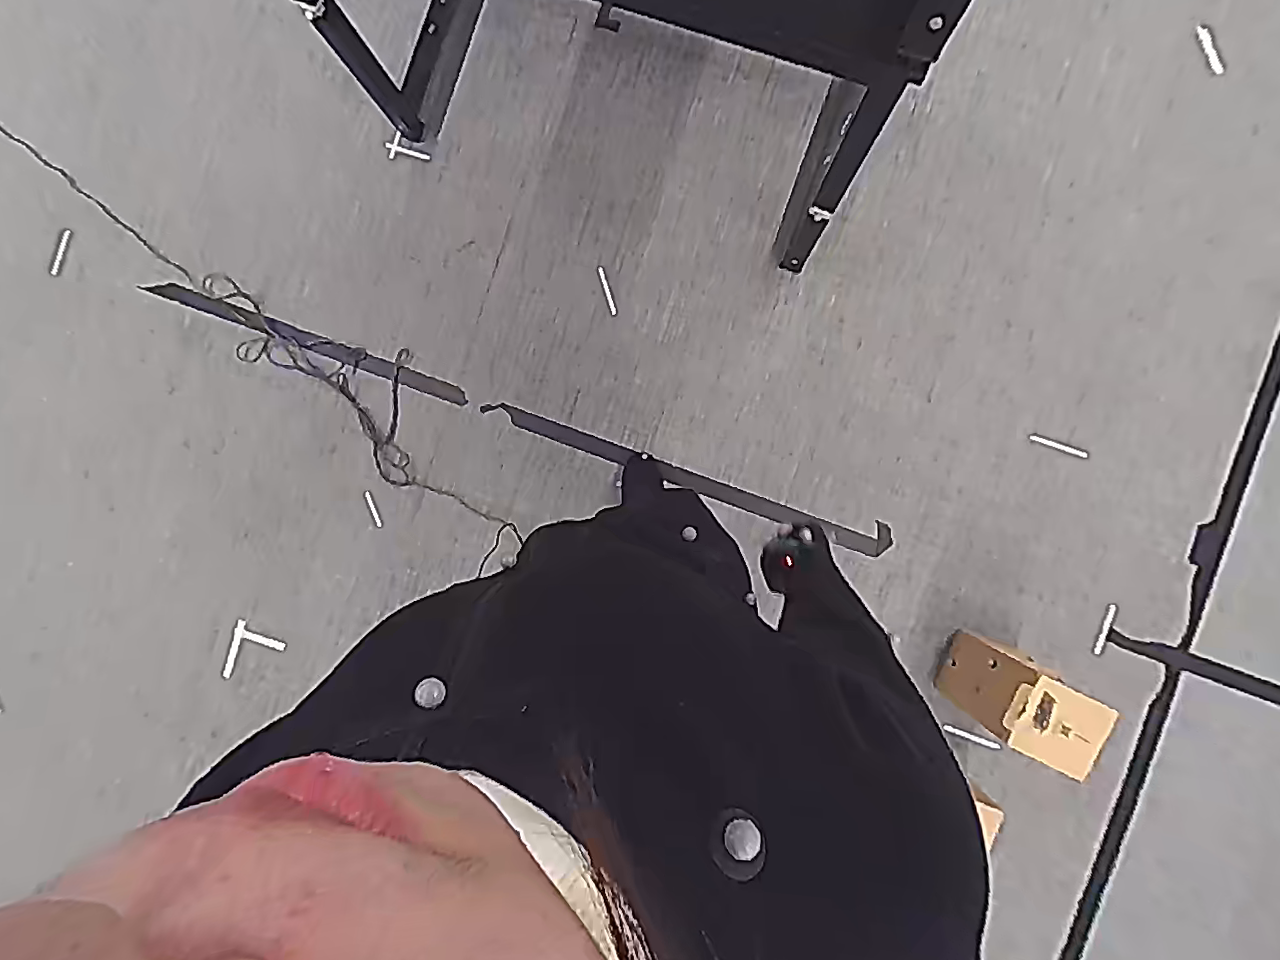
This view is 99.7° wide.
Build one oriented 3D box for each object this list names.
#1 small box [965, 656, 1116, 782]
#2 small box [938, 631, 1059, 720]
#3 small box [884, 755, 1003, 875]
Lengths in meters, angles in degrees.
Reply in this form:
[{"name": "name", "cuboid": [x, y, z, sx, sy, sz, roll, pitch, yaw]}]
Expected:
[{"name": "small box", "cuboid": [0.863, 0.510, 1.187, 0.179, 0.176, 0.168, 26, 92, 2]}, {"name": "small box", "cuboid": [0.881, 0.507, 1.351, 0.168, 0.176, 0.179, 22, 93, 3]}, {"name": "small box", "cuboid": [0.753, 0.831, 1.360, 0.179, 0.176, 0.168, 22, 91, 3]}]
